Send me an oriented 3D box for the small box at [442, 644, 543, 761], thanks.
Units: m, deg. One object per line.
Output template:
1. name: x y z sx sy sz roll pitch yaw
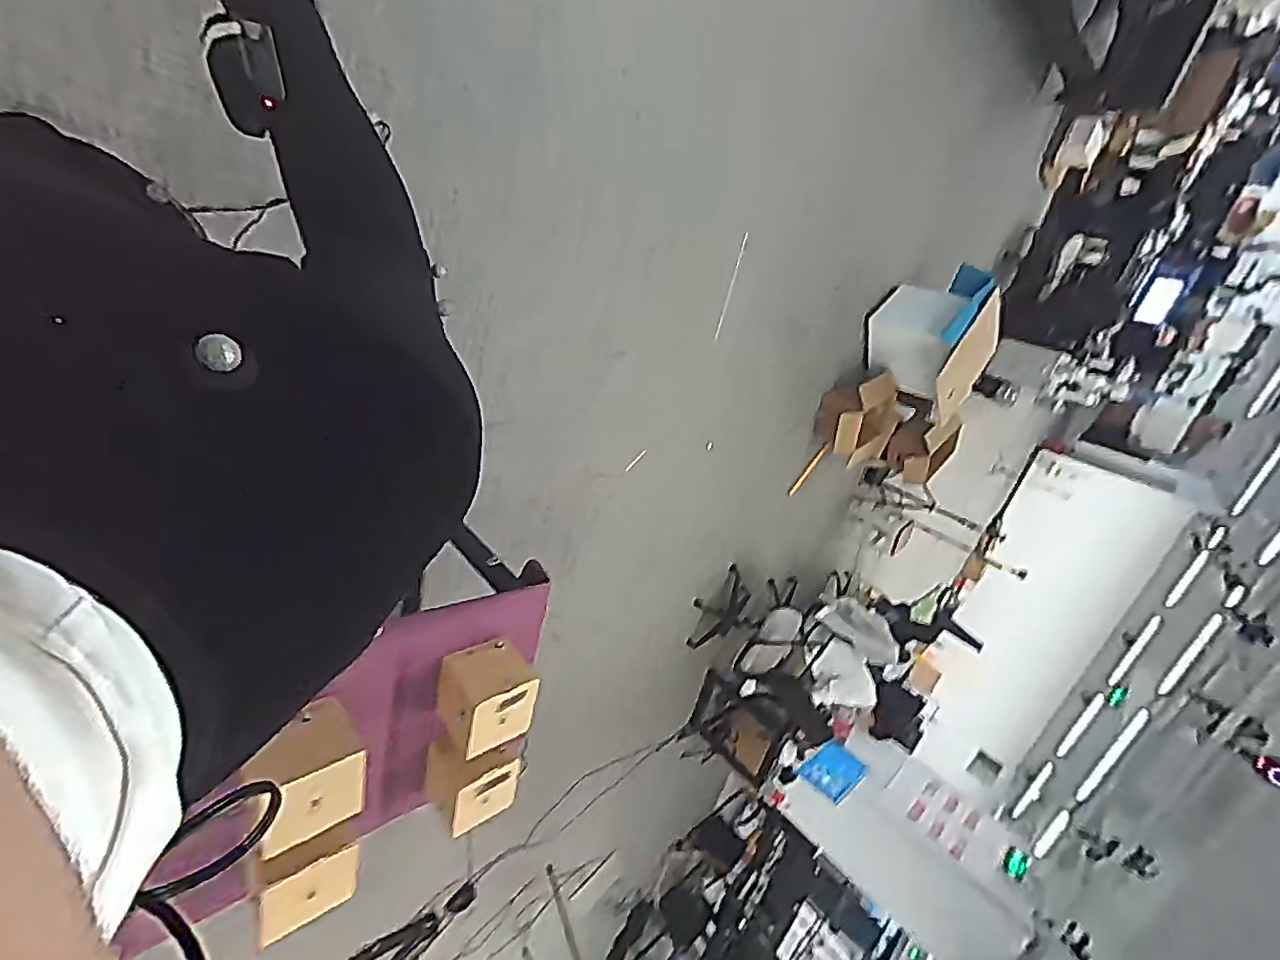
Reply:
1. small box: -0.358 0.518 1.294 0.168 0.176 0.179 -8 122 -44

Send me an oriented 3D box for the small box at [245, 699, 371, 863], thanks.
1. small box: -0.632 0.559 1.027 0.168 0.176 0.179 -9 122 -45

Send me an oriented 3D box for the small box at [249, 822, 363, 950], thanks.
1. small box: -0.695 0.794 1.121 0.168 0.176 0.179 -6 118 -45

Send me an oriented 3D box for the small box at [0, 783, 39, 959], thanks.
1. small box: -0.914 0.548 0.708 0.168 0.176 0.179 -5 121 -47
